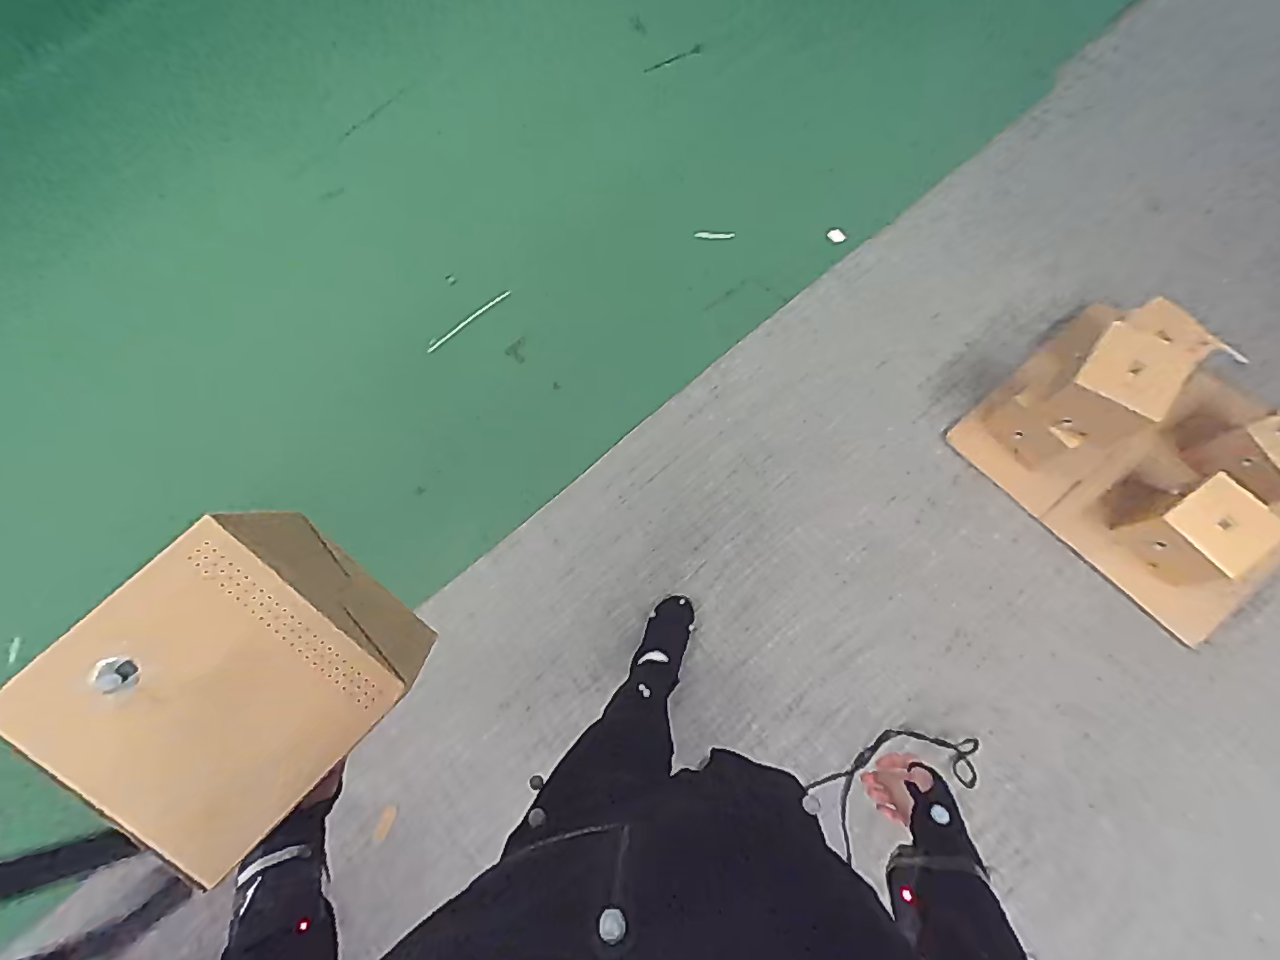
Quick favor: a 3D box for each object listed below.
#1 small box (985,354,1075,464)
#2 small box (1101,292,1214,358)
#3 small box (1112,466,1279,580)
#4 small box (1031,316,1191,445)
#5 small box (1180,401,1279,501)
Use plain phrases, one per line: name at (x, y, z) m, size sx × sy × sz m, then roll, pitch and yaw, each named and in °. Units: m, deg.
small box at (0.985, -0.164, 1.314) m, size 0.179 × 0.176 × 0.168 m, roll -35°, pitch 73°, yaw -5°
small box at (1.214, -0.318, 1.335) m, size 0.168 × 0.176 × 0.179 m, roll -33°, pitch 72°, yaw -5°
small box at (1.215, 0.103, 1.201) m, size 0.179 × 0.176 × 0.168 m, roll -36°, pitch 73°, yaw -6°
small box at (0.988, -0.205, 1.154) m, size 0.168 × 0.176 × 0.179 m, roll 35°, pitch 80°, yaw 16°
small box at (1.411, -0.060, 1.227) m, size 0.168 × 0.176 × 0.179 m, roll -25°, pitch 73°, yaw -2°
